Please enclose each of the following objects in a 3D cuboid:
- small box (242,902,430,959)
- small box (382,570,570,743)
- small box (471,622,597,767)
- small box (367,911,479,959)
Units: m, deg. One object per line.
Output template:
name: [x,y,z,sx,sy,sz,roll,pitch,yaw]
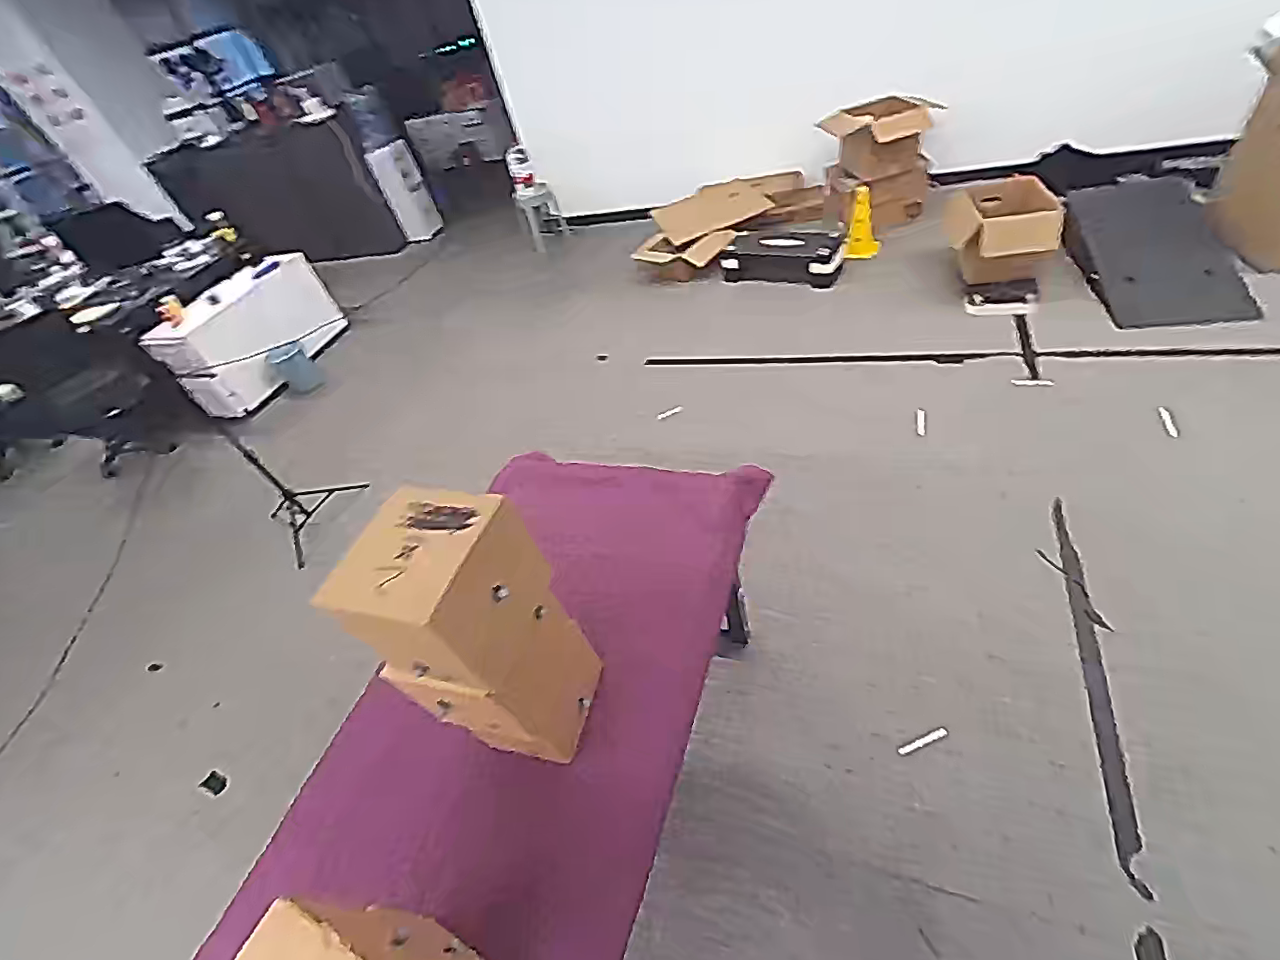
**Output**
small box: [-0.304,0.552,0.514,0.168,0.176,0.179,11,51,25]
small box: [-0.219,0.254,0.779,0.168,0.176,0.179,1,47,20]
small box: [-0.185,0.350,0.908,0.168,0.176,0.179,1,47,21]
small box: [-0.275,0.658,0.637,0.179,0.176,0.168,13,52,27]
